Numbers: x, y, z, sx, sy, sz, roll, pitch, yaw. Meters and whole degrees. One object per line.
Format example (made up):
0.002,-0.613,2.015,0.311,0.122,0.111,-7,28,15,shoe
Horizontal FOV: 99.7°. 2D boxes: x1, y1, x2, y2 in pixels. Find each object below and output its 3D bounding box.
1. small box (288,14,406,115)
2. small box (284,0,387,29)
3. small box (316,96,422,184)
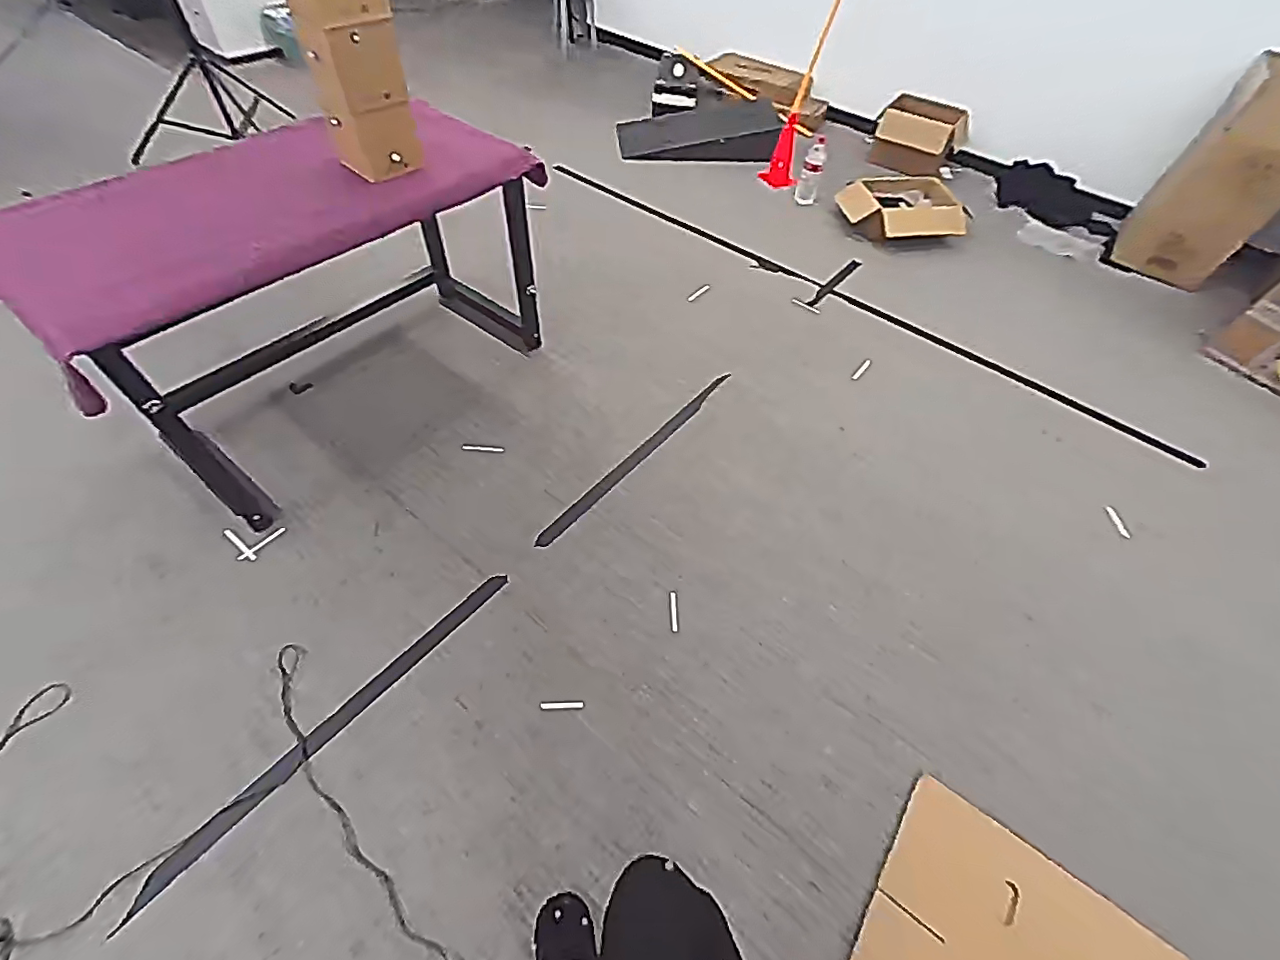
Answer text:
-0.709,-1.024,1.322,0.179,0.176,0.168,38,60,23,small box
-0.694,-1.118,1.189,0.179,0.176,0.168,38,60,23,small box
-0.721,-0.929,1.455,0.179,0.176,0.168,37,60,21,small box
